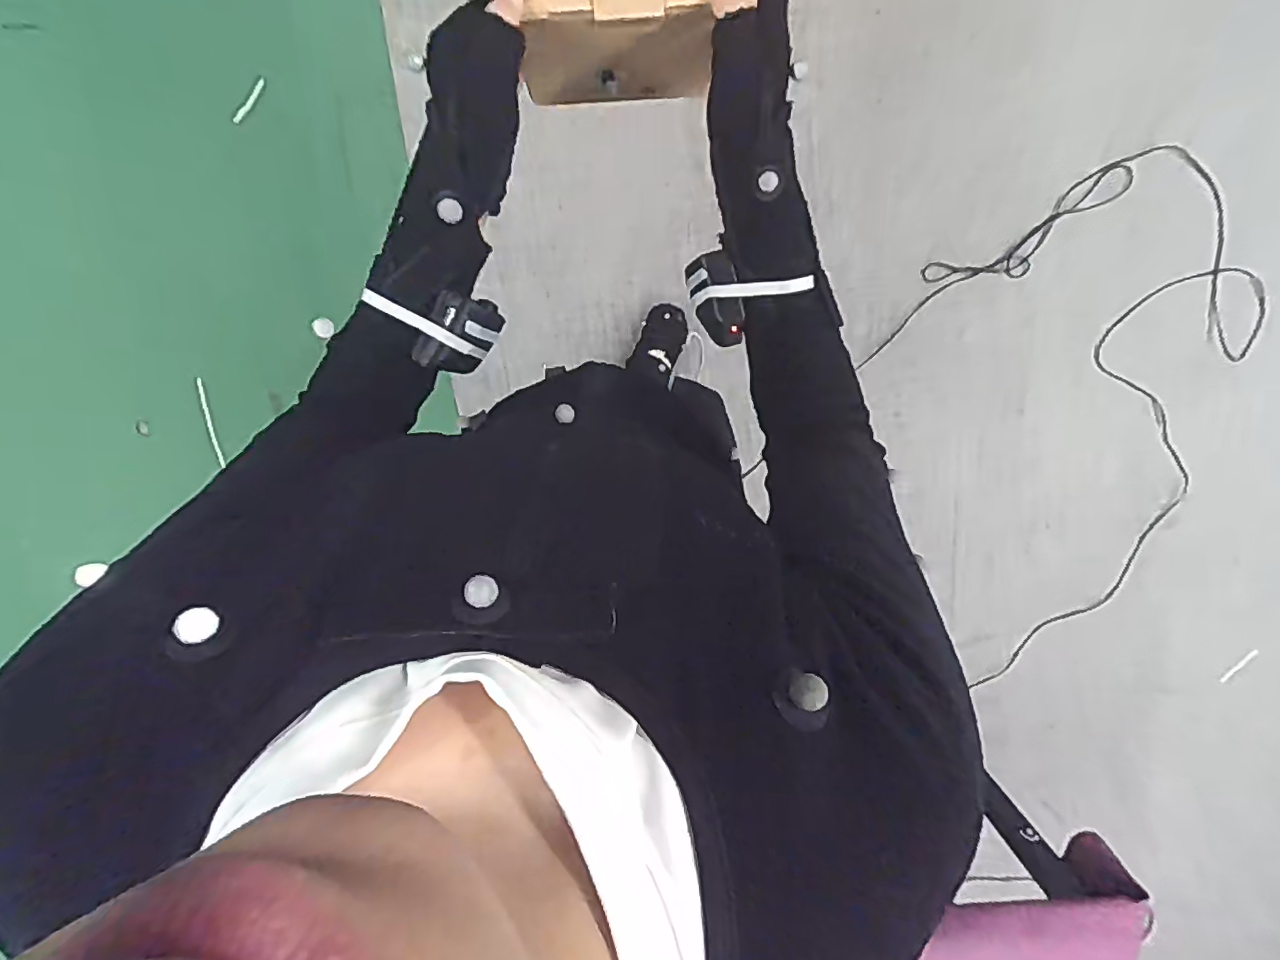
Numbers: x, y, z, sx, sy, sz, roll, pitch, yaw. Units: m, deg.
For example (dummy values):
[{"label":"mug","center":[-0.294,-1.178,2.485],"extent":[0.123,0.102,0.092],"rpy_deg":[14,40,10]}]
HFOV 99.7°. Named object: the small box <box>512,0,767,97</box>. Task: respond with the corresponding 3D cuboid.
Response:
[{"label":"small box","center":[-0.010,-0.405,0.386],"extent":[0.168,0.176,0.179],"rpy_deg":[-5,111,-2]}]
